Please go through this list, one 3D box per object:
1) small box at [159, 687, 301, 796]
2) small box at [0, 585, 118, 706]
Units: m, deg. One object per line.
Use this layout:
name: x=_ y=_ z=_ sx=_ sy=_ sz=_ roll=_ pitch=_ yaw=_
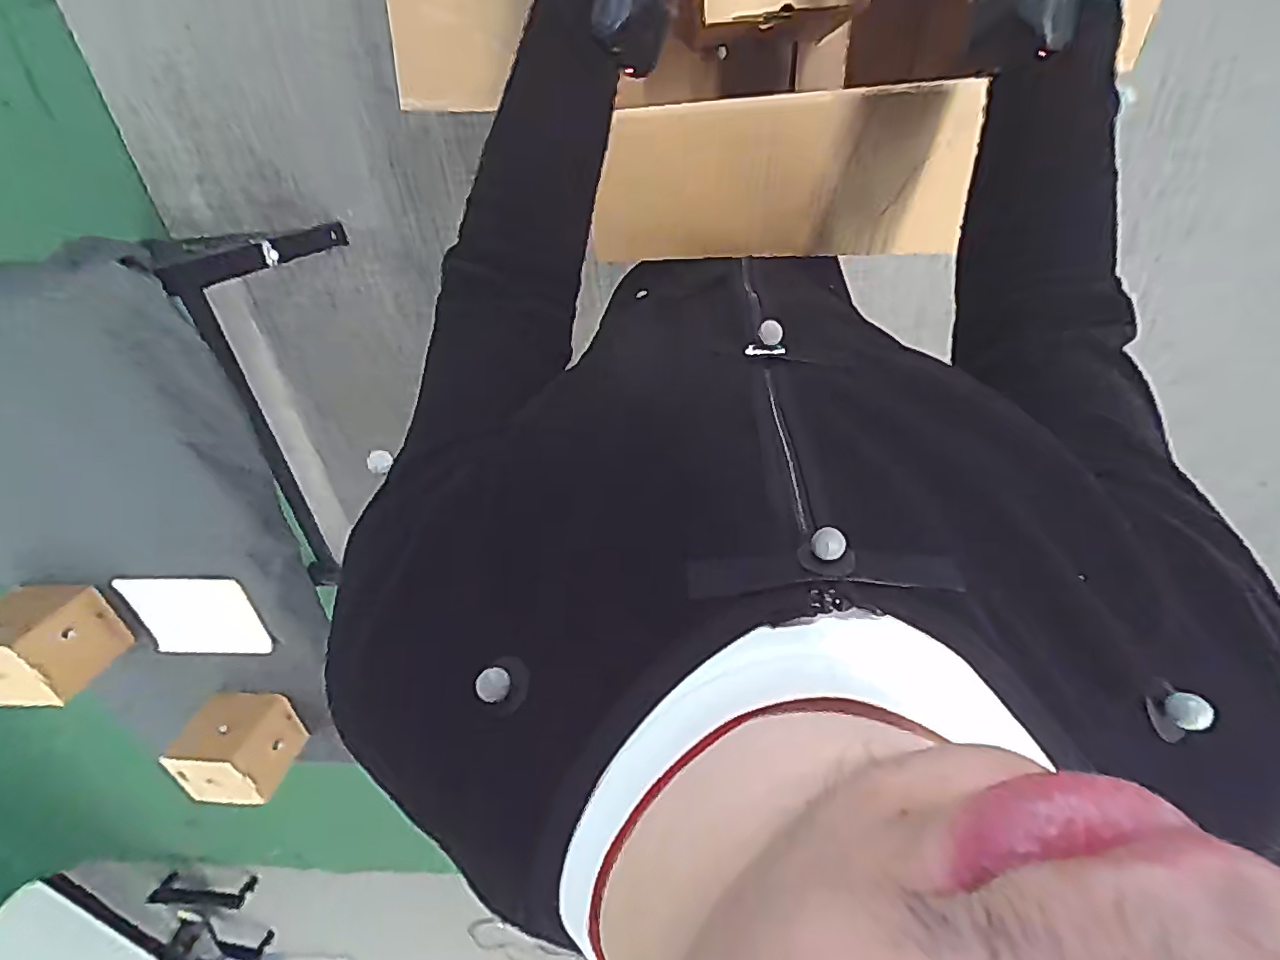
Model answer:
small box: x=-0.918 y=0.594 z=1.238 sx=0.179 sy=0.176 sz=0.168 roll=-1 pitch=121 yaw=5
small box: x=-1.204 y=0.323 z=1.070 sx=0.179 sy=0.176 sz=0.168 roll=-1 pitch=121 yaw=5
